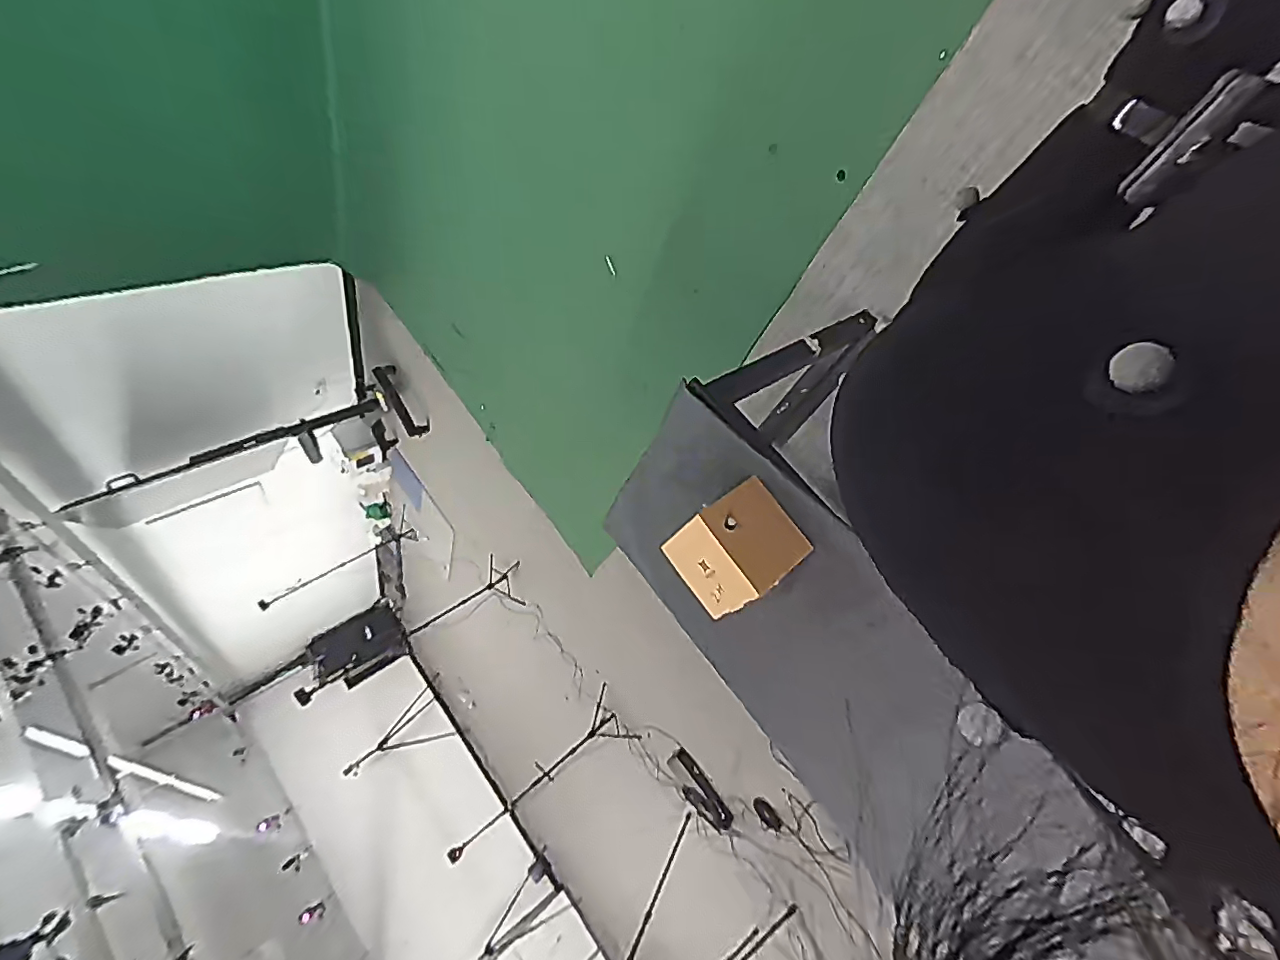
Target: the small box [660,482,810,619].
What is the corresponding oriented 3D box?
[{"bbox_3d":[0.177,0.124,1.013,0.179,0.176,0.168,52,145,9],"label":"small box"}]
